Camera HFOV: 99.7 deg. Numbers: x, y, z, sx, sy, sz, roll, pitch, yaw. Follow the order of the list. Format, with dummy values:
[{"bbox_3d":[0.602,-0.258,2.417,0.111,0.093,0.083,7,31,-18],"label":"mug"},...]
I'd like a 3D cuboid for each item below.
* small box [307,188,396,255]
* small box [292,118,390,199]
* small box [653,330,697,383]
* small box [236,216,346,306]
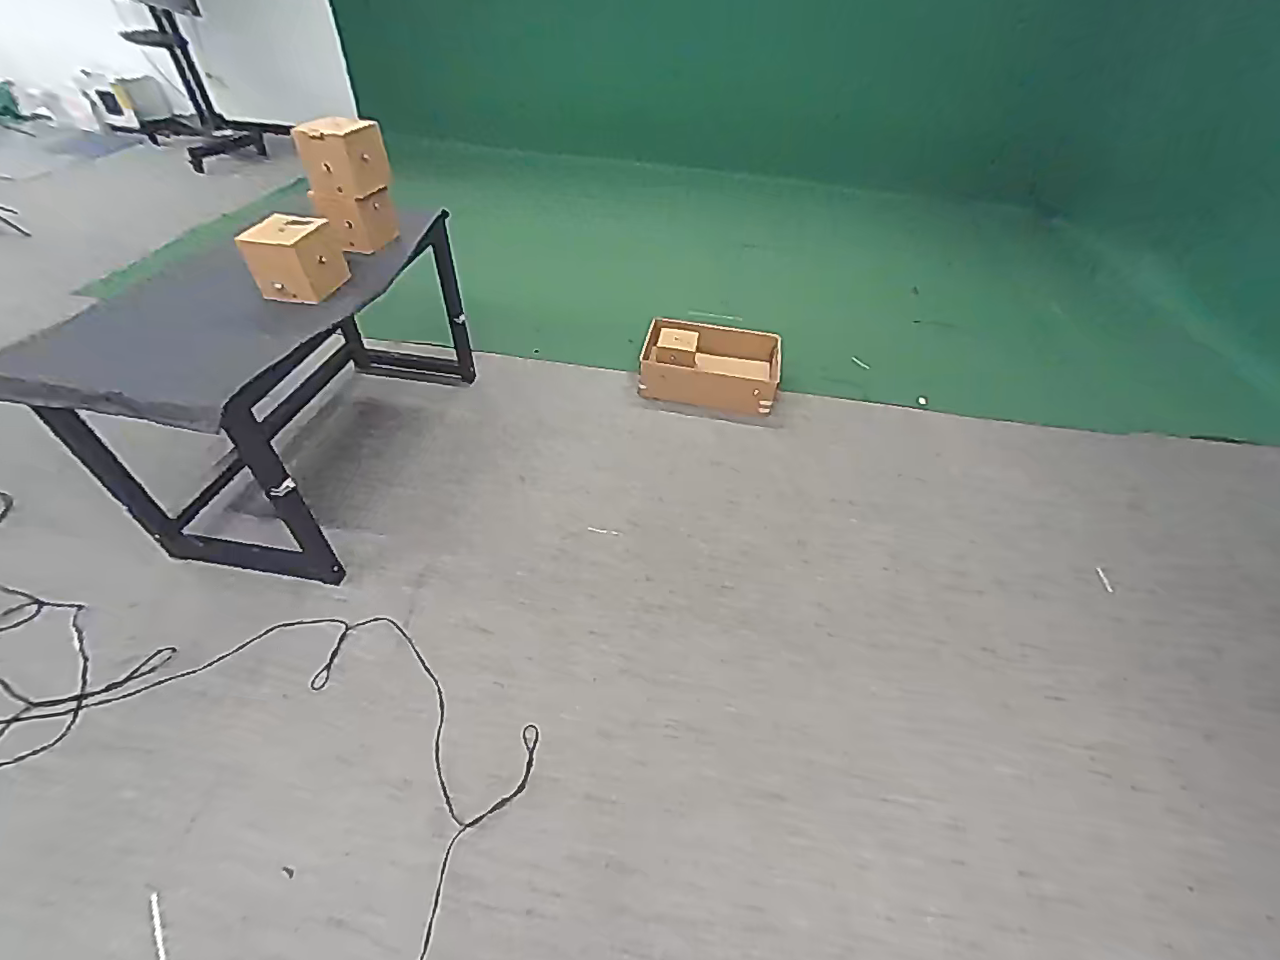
[{"bbox_3d":[-0.911,-0.840,1.729,0.168,0.176,0.179,11,45,7],"label":"small box"},{"bbox_3d":[-0.884,-0.961,1.620,0.168,0.176,0.179,13,46,9],"label":"small box"},{"bbox_3d":[0.160,-0.568,2.496,0.179,0.176,0.168,10,47,4],"label":"small box"},{"bbox_3d":[-0.945,-0.603,1.489,0.168,0.176,0.179,8,47,6],"label":"small box"}]
